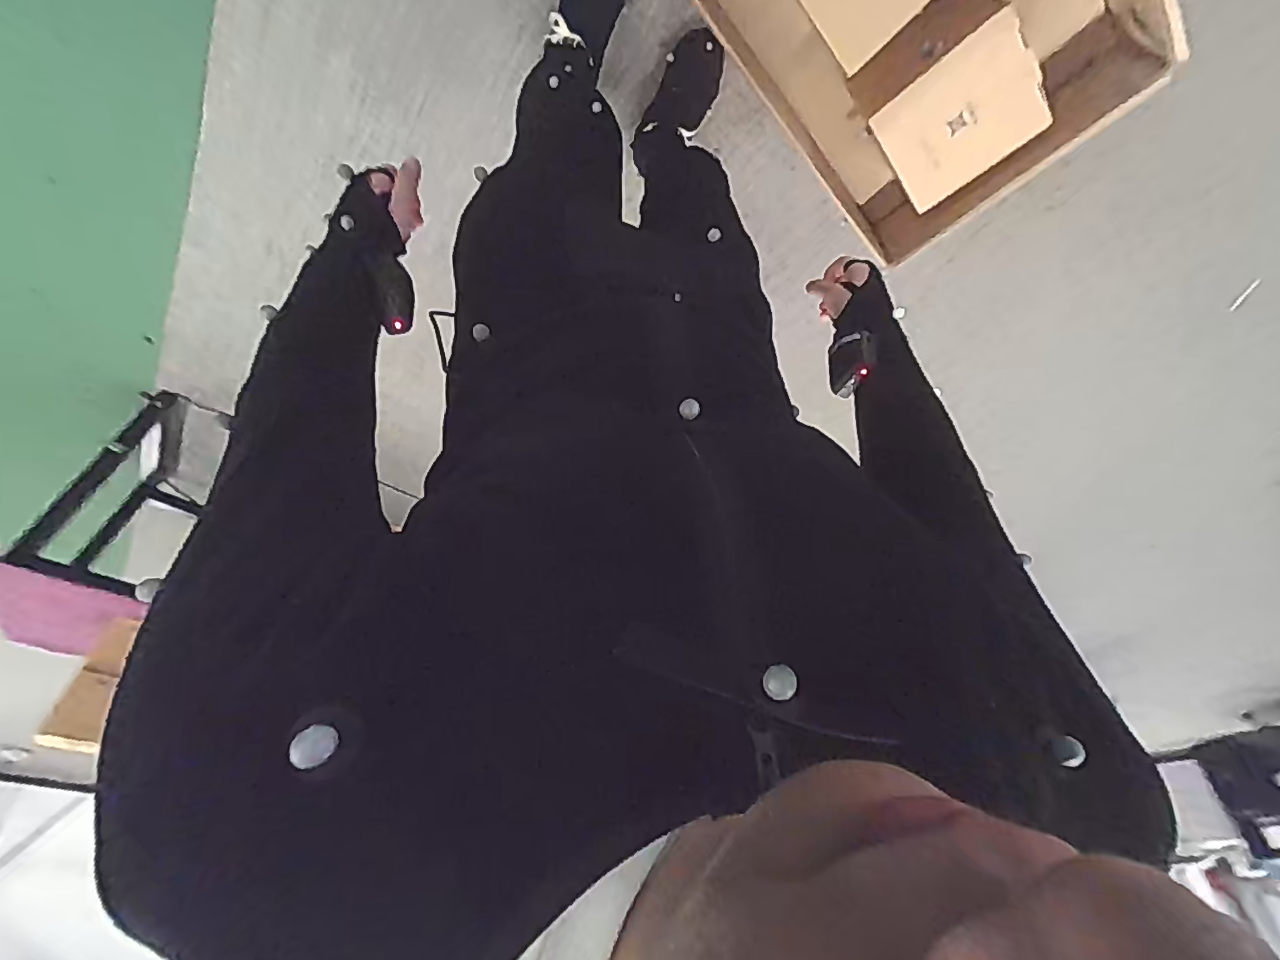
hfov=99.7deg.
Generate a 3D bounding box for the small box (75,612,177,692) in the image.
[{"bbox_3d":[-1.534,0.514,1.622,0.168,0.176,0.179,28,135,-26],"label":"small box"}]

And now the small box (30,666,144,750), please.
[{"bbox_3d":[-1.537,0.636,1.510,0.168,0.176,0.179,31,135,-28],"label":"small box"}]

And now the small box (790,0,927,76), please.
[{"bbox_3d":[0.210,-0.540,0.504,0.168,0.176,0.179,33,133,-31],"label":"small box"}]
